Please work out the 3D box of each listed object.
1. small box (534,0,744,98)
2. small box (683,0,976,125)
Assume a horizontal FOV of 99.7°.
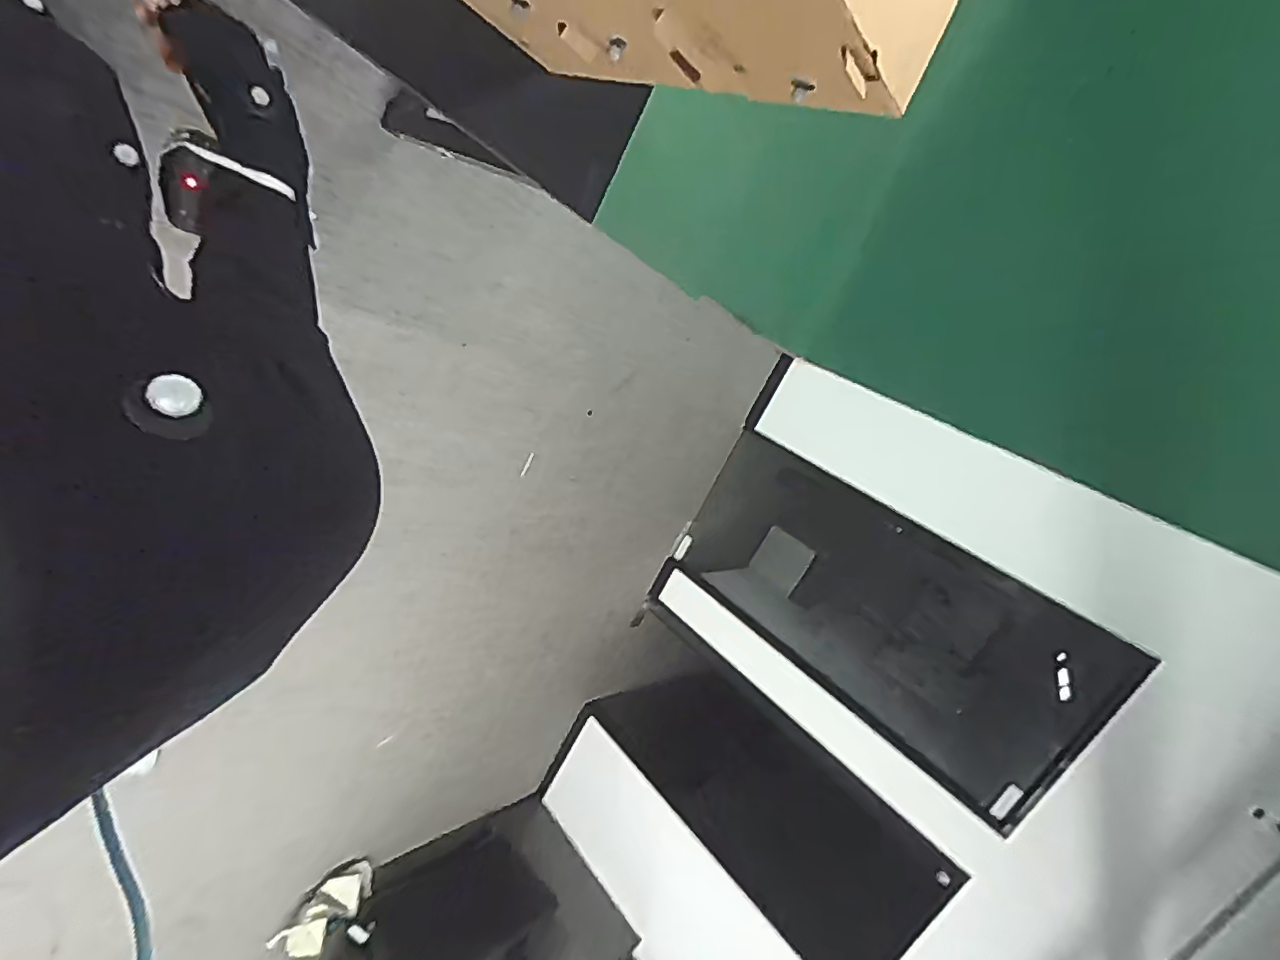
[{"bbox_3d":[0.024,-0.496,0.498,0.168,0.176,0.179,-1,120,-50],"label":"small box"},{"bbox_3d":[0.150,-0.408,0.405,0.168,0.176,0.179,-1,120,-51],"label":"small box"}]
